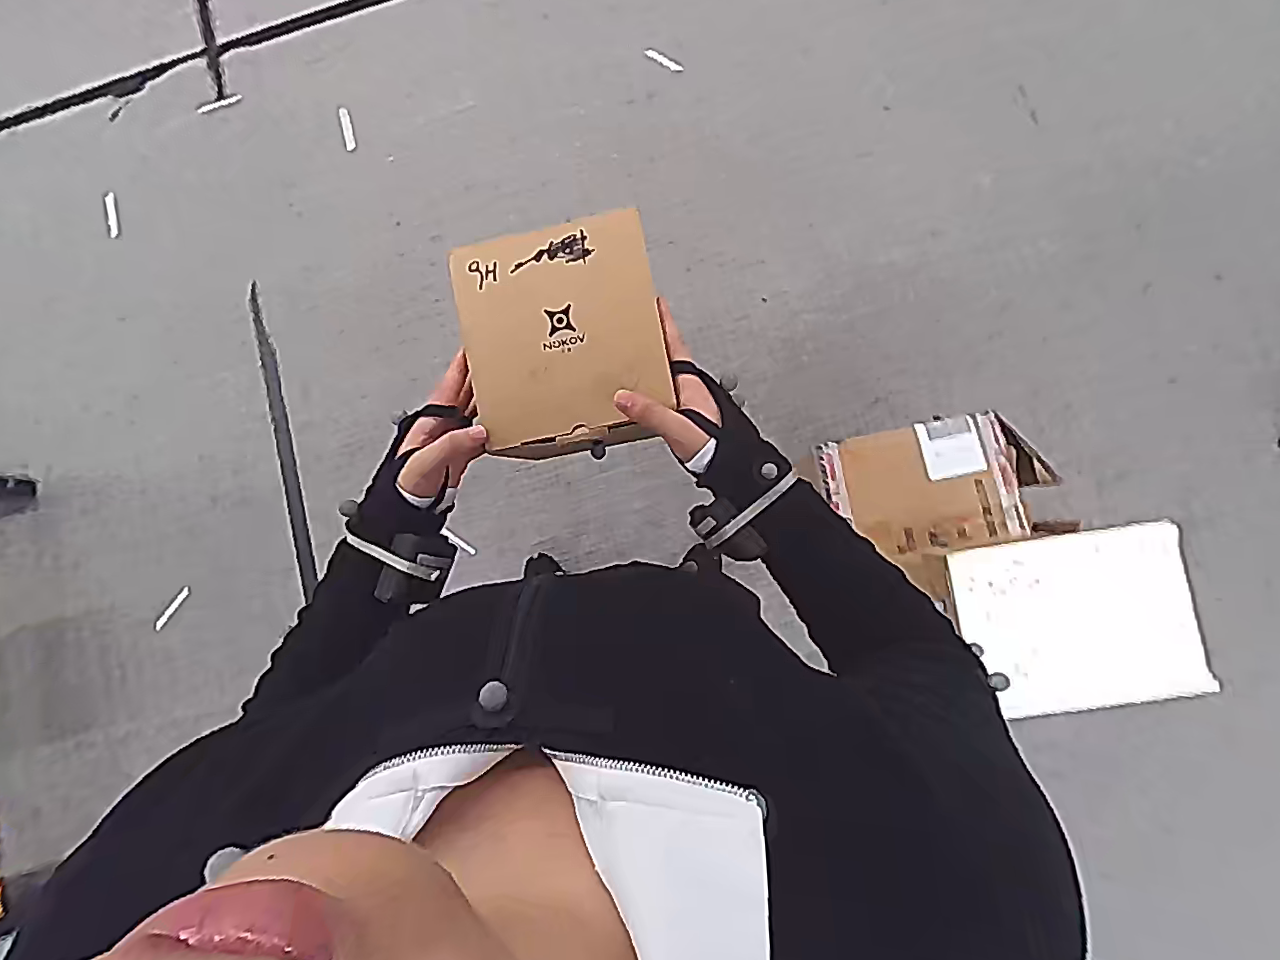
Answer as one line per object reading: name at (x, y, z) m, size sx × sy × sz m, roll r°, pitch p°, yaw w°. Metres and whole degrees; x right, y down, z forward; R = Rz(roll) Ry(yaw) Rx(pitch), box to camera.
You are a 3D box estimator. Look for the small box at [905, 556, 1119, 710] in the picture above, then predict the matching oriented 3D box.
small box at (0.509, 0.204, 0.764) m, size 0.179 × 0.176 × 0.168 m, roll -9°, pitch 86°, yaw 3°
